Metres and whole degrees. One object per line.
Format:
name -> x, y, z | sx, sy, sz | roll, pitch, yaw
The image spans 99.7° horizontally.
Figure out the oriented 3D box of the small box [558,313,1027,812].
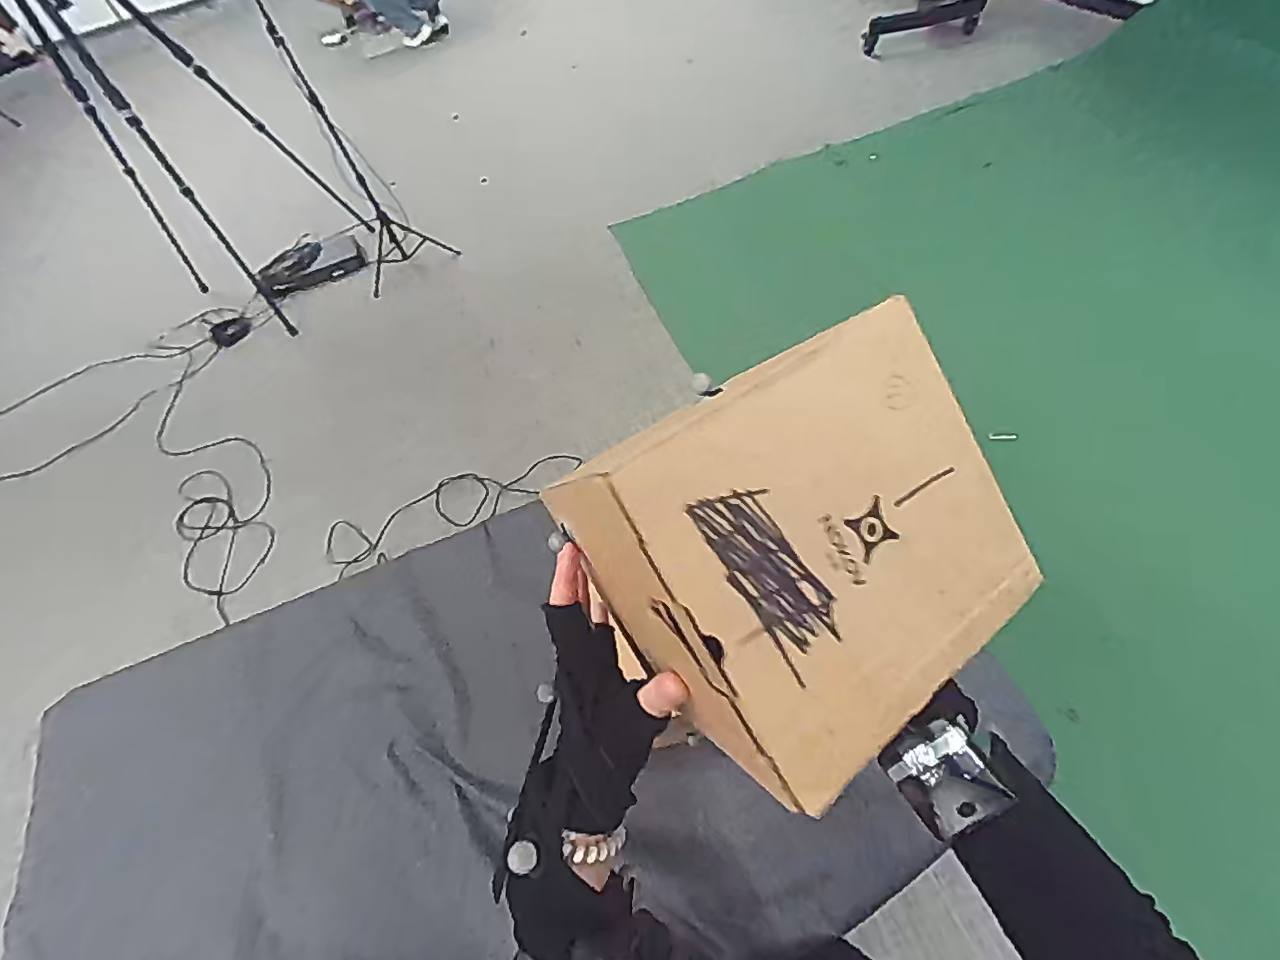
small box -> 0.066, 0.036, 0.320 | 0.179, 0.176, 0.168 | -33, 98, -19
